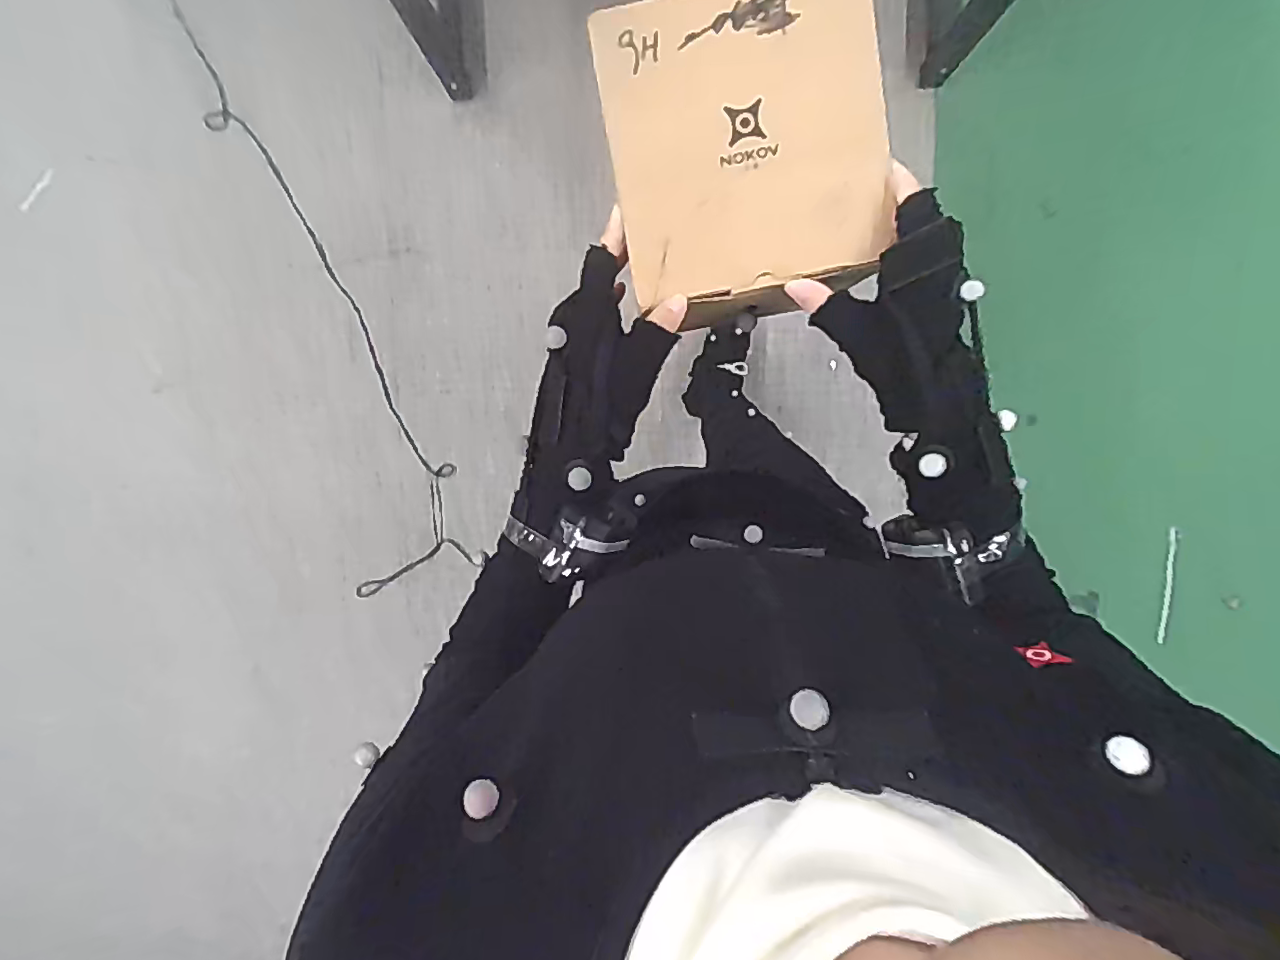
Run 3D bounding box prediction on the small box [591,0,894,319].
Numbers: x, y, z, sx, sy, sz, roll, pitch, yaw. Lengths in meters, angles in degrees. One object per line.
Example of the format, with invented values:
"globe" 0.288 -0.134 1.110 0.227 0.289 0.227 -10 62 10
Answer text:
"small box" 0.071 -0.225 0.406 0.168 0.176 0.179 -10 99 6
